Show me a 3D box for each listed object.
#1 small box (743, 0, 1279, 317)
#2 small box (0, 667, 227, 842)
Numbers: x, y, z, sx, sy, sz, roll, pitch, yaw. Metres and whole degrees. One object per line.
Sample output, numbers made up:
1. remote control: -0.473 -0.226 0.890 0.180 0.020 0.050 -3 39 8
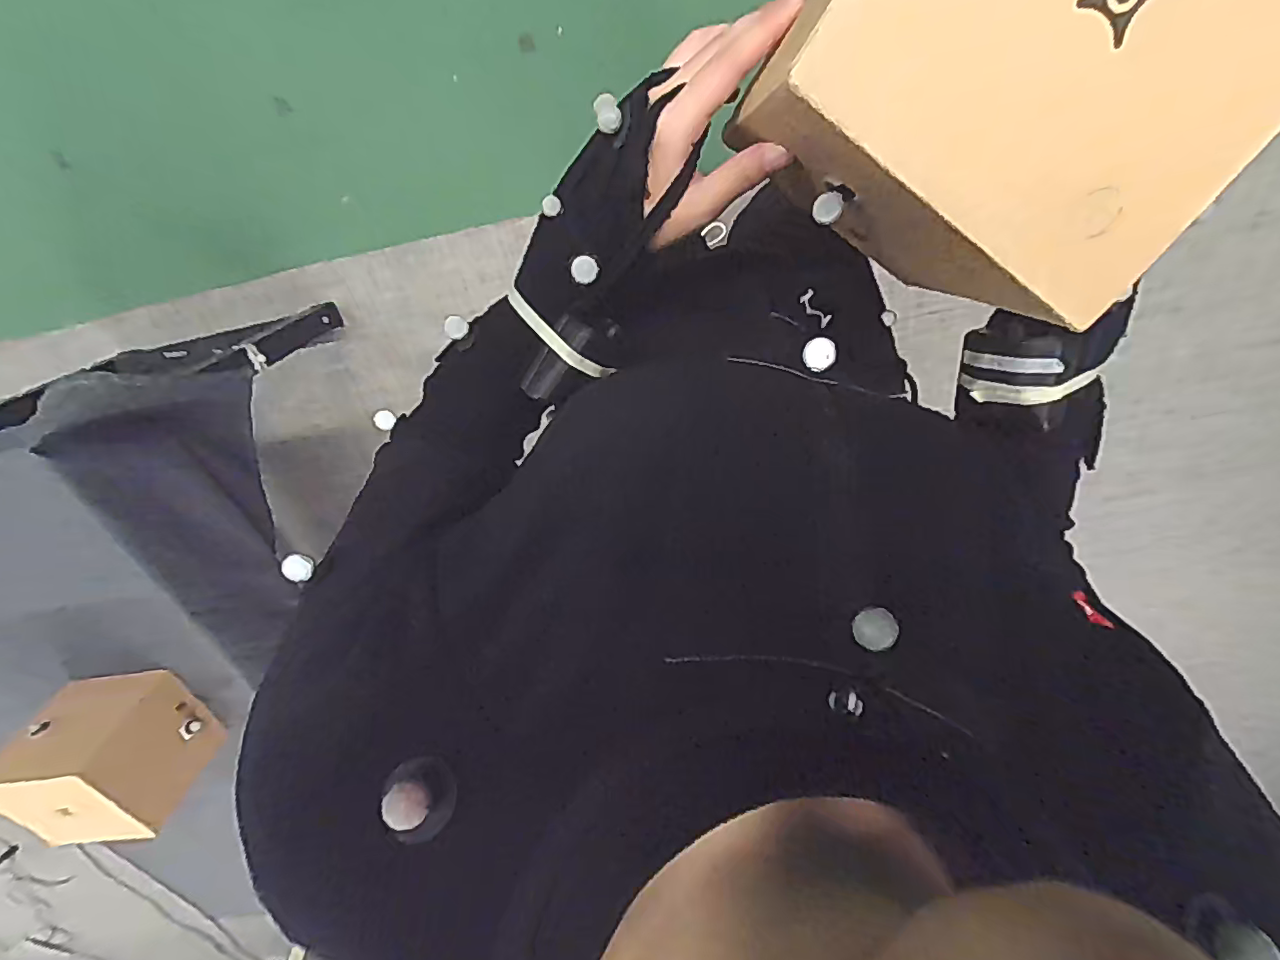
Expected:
1. small box: 0.164 -0.204 0.244 0.168 0.176 0.179 30 112 -13
2. small box: -0.782 0.403 0.804 0.179 0.176 0.168 -9 123 6
